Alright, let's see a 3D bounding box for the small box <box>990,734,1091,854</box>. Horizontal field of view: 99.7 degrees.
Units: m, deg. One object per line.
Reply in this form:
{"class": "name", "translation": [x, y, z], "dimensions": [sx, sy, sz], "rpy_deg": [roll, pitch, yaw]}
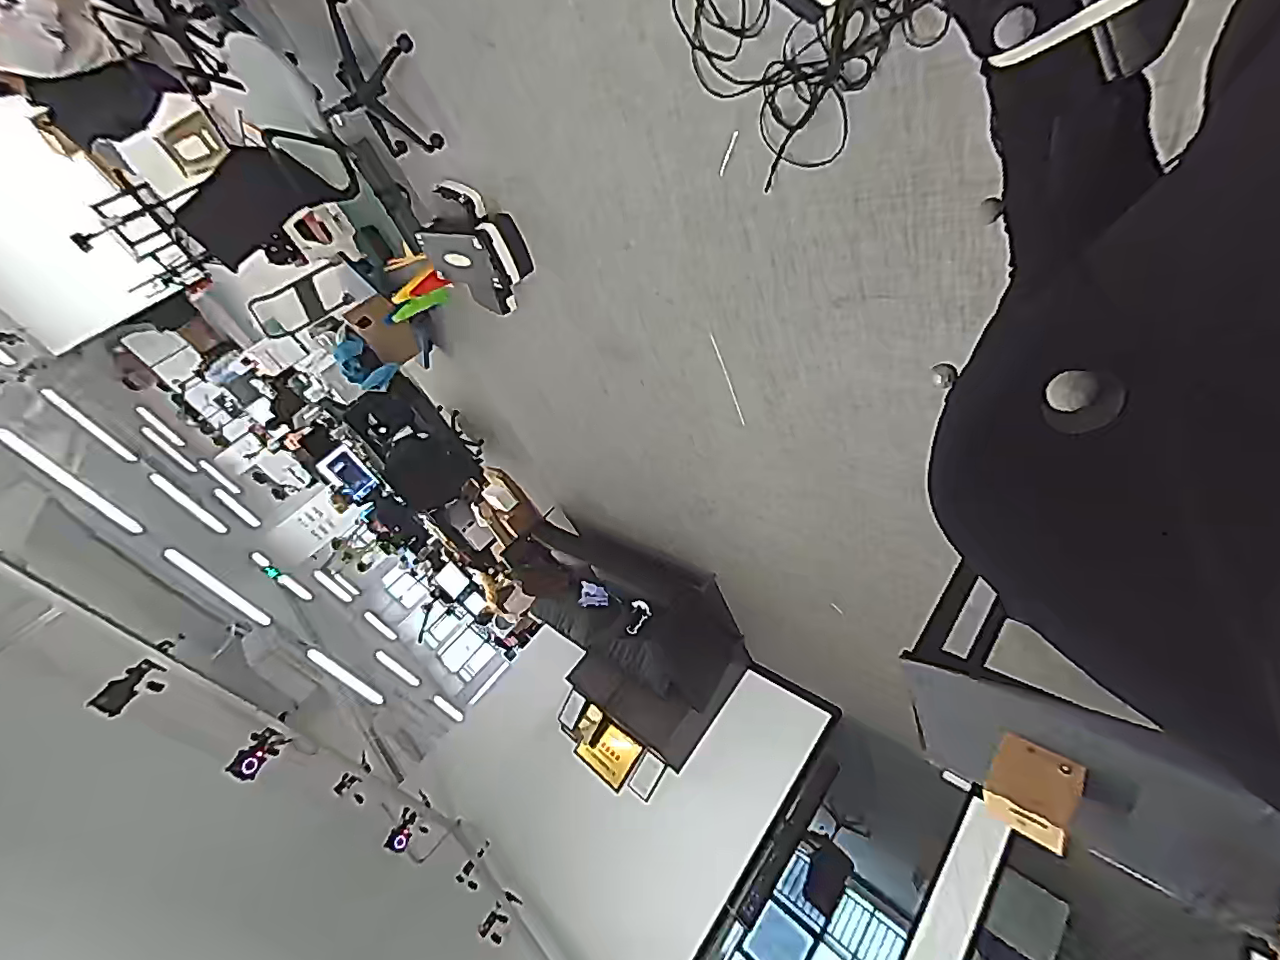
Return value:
{"class": "small box", "translation": [0.988, 0.768, 1.336], "dimensions": [0.168, 0.176, 0.179], "rpy_deg": [16, 146, 46]}
